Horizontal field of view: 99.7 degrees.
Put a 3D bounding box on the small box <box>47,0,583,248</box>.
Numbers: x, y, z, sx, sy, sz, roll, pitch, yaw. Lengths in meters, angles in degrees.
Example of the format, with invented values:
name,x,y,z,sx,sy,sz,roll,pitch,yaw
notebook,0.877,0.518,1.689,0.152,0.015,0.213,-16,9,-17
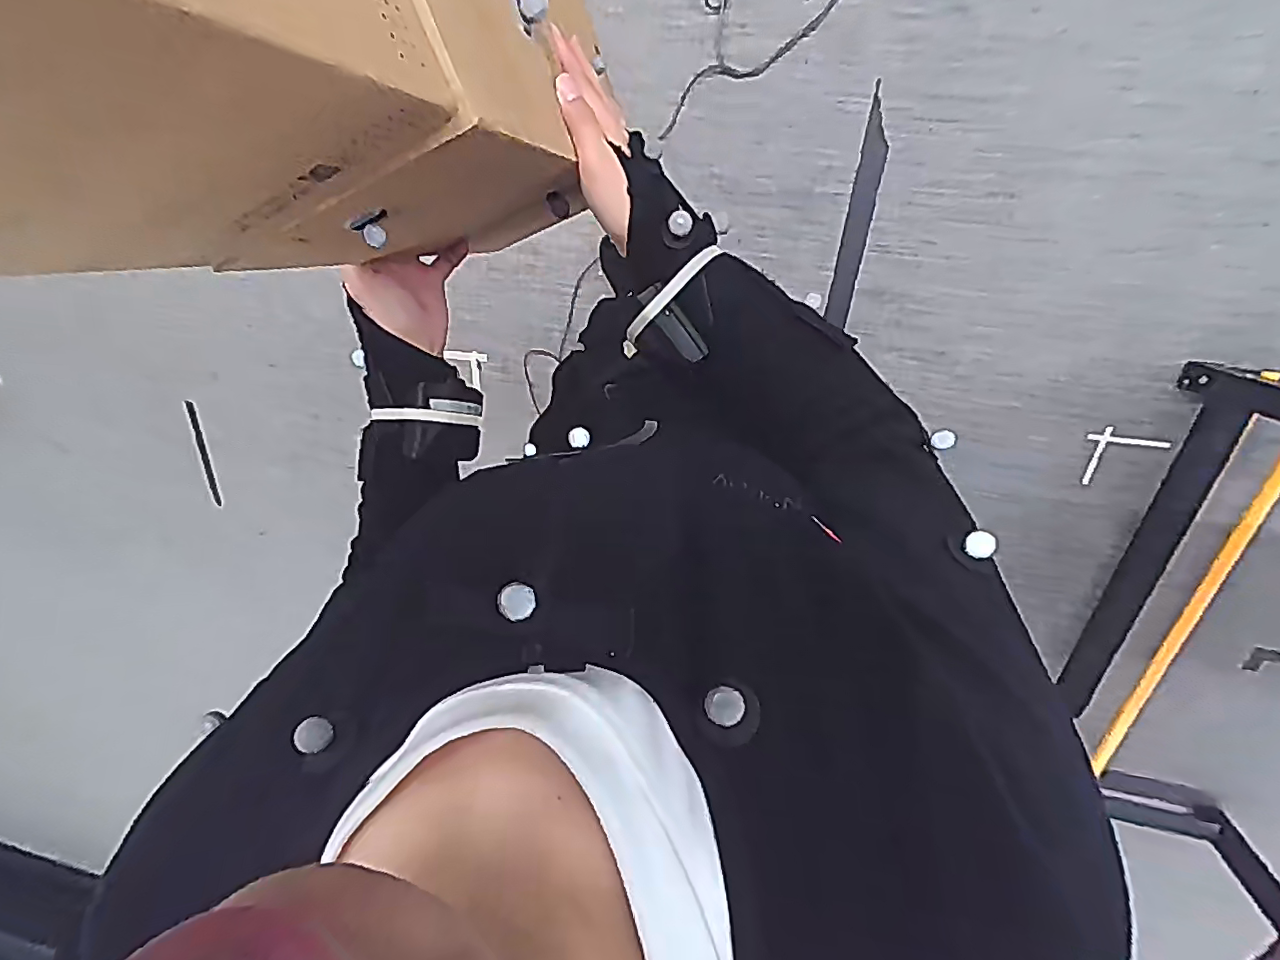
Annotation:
name,x,y,z,sx,sy,sz,roll,pitch,yaw
small box,-0.156,-0.237,0.292,0.179,0.176,0.168,-14,110,19
